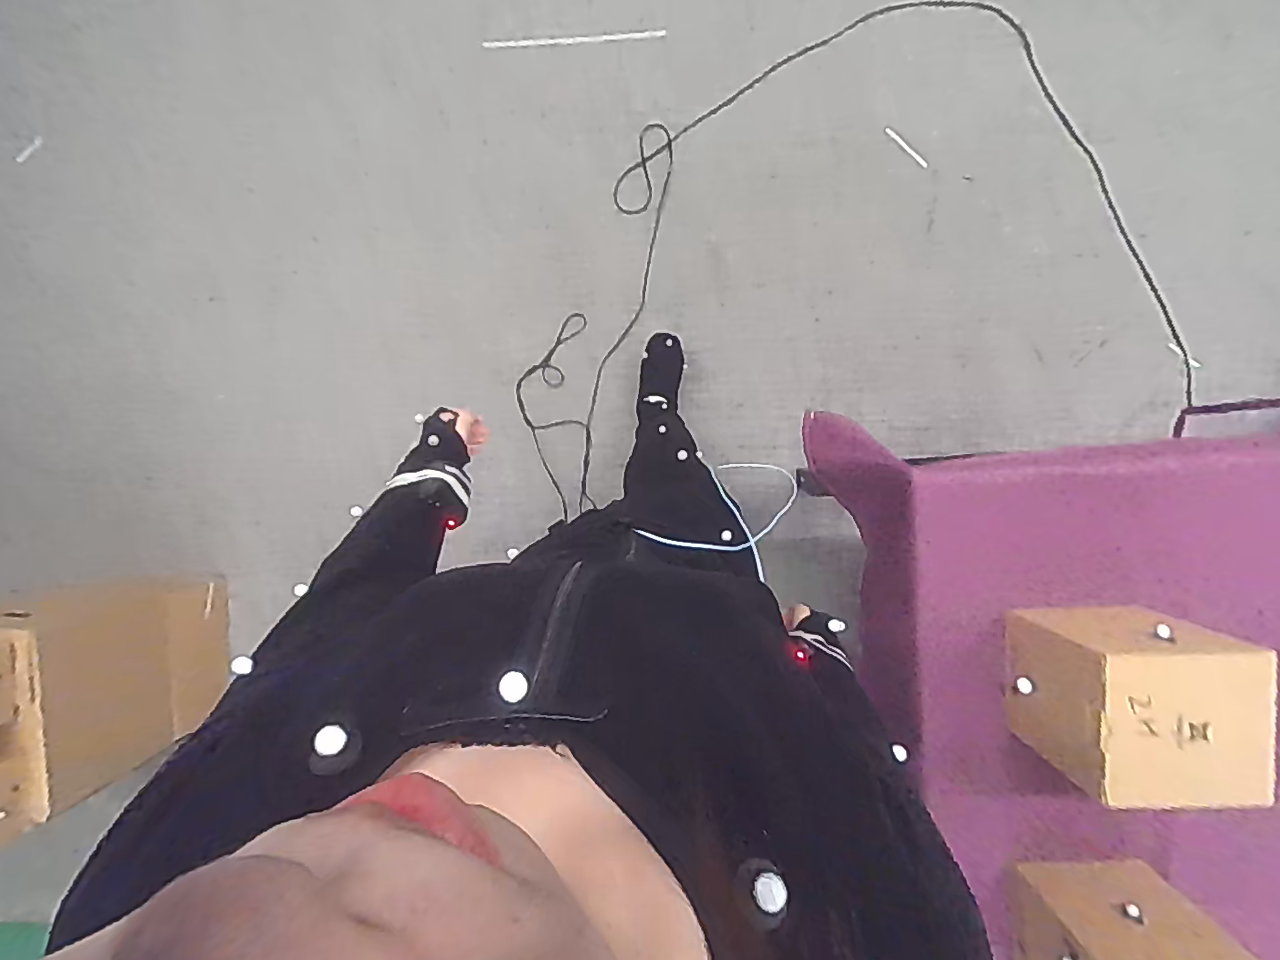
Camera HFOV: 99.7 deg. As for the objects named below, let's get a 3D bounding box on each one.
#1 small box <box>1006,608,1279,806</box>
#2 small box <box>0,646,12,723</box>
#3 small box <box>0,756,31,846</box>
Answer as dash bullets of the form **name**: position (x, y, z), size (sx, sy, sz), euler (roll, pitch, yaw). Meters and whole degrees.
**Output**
- **small box**: position (0.580, 0.256, 0.645), size (0.179, 0.176, 0.168), euler (-2, 92, 3)
- **small box**: position (-1.365, 0.416, 1.027), size (0.179, 0.176, 0.168), euler (3, 94, 4)
- **small box**: position (-1.352, 0.652, 1.041), size (0.179, 0.176, 0.168), euler (0, 92, 1)
